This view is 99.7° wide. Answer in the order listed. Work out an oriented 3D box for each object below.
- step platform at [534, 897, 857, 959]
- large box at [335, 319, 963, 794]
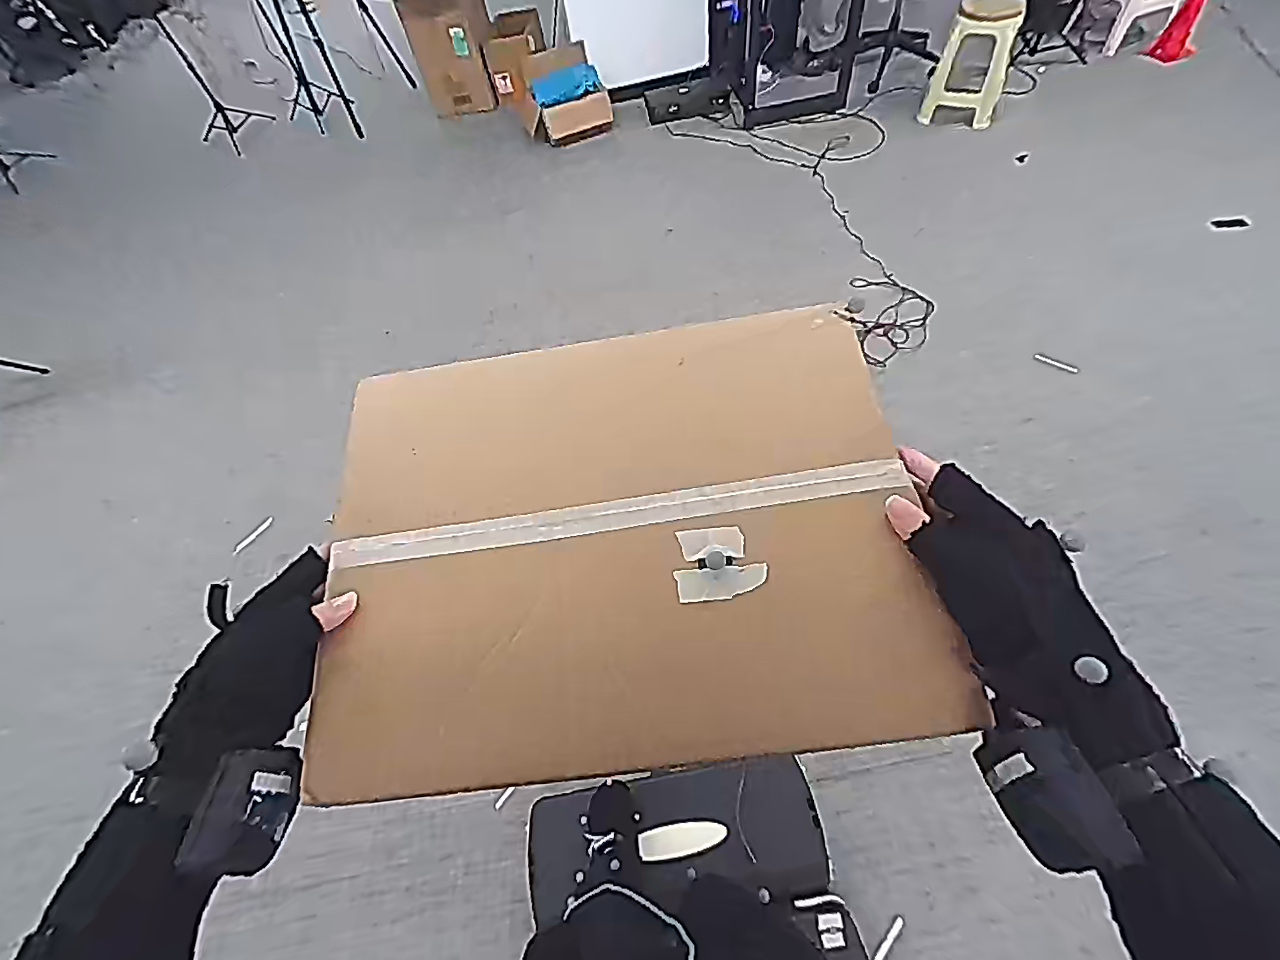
[{"bbox_3d":[0.103,1.053,1.051,0.684,0.204,0.286,-13,56,2],"label":"step platform"},{"bbox_3d":[-0.001,0.094,0.530,0.408,0.320,0.320,-8,65,3],"label":"large box"}]
